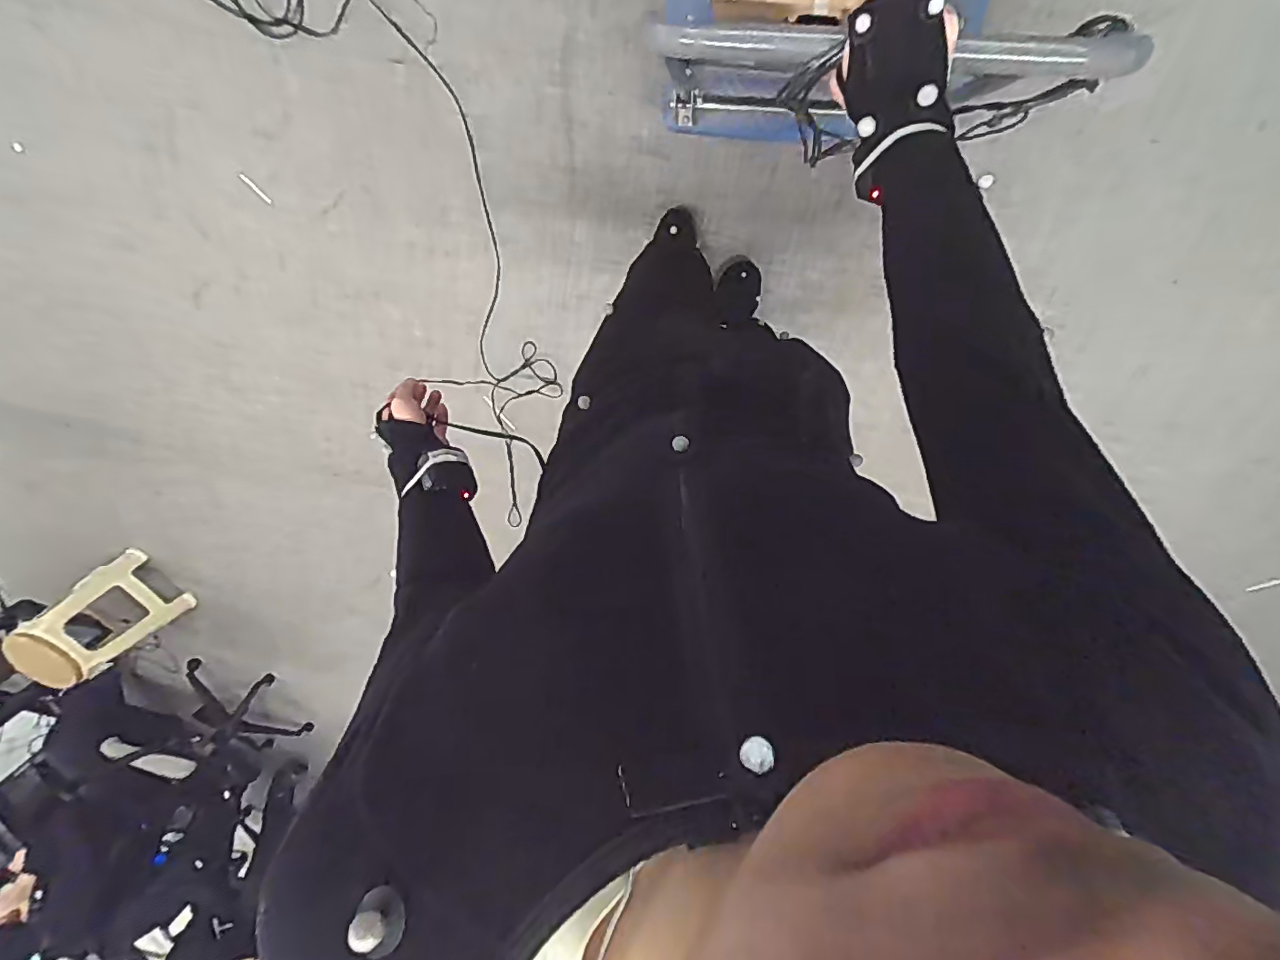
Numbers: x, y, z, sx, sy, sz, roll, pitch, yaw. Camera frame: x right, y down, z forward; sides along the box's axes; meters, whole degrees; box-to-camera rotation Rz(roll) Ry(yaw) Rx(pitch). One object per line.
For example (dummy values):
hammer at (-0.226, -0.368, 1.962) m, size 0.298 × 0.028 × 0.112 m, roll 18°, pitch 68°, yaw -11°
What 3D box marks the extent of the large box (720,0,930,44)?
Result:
large box at (0.297, -0.926, 0.790) m, size 0.320 × 0.320 × 0.408 m, roll 9°, pitch 121°, yaw 5°
